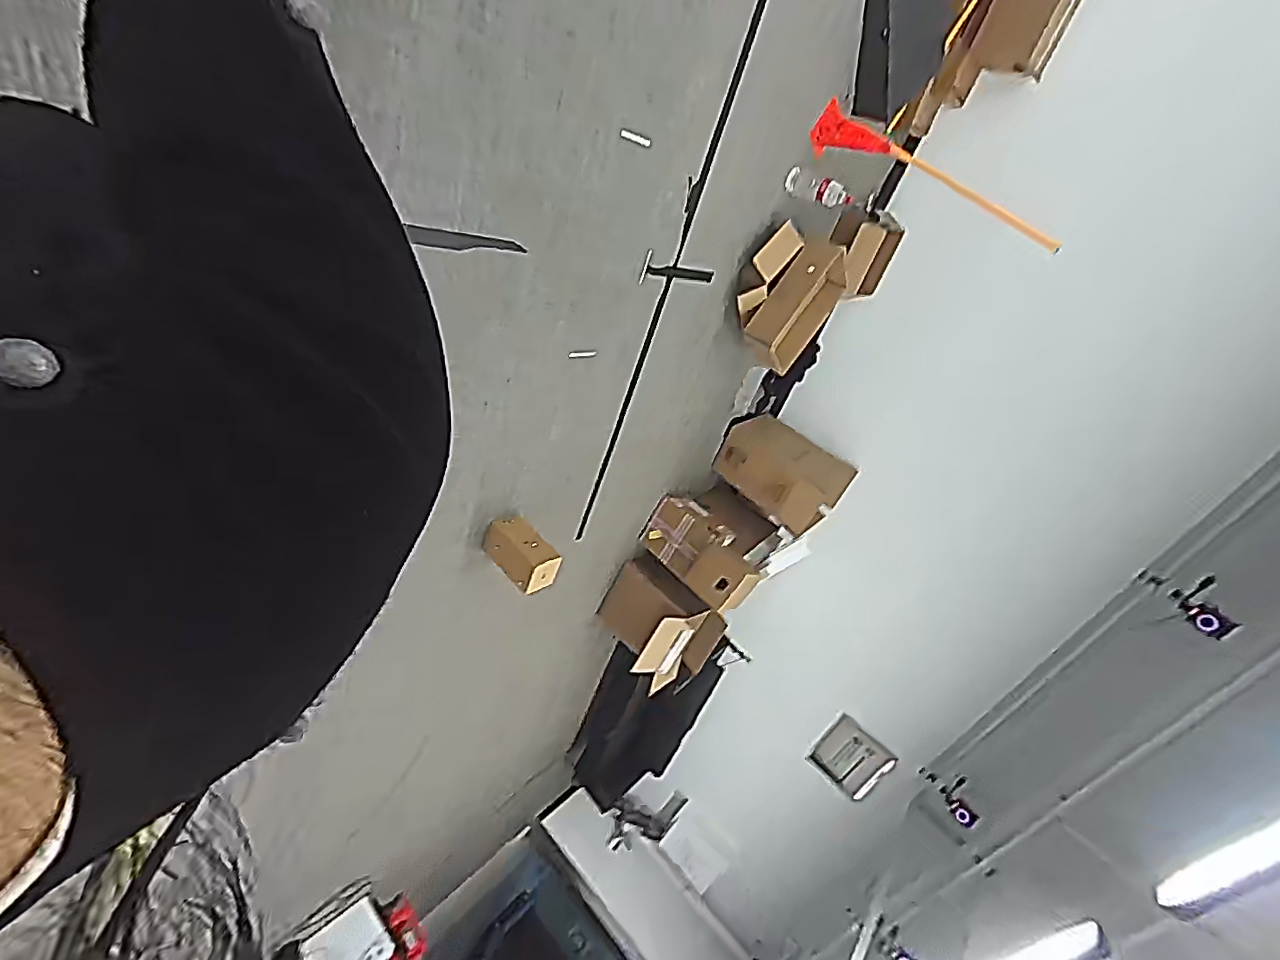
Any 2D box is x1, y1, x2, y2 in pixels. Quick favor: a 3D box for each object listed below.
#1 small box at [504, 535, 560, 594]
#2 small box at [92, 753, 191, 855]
[{"bbox_3d":[-0.499,0.380,2.465,0.168,0.176,0.179,-17,137,-52],"label":"small box"},{"bbox_3d":[-1.472,0.947,1.598,0.168,0.176,0.179,-22,142,-45],"label":"small box"}]
